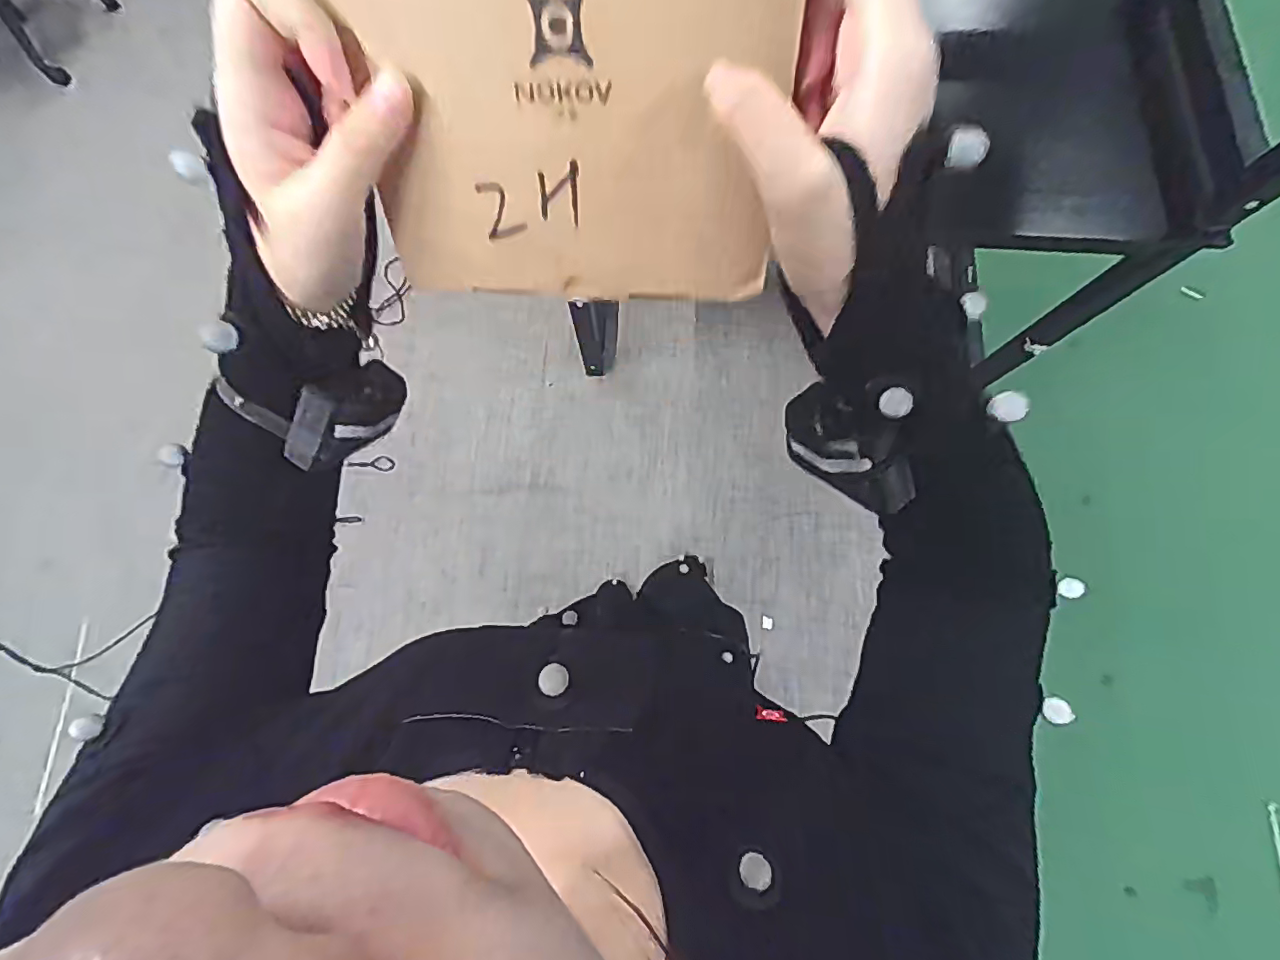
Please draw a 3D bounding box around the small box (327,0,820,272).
[{"bbox_3d":[-0.015,-0.212,0.233,0.168,0.179,0.176,5,44,6],"label":"small box"}]
